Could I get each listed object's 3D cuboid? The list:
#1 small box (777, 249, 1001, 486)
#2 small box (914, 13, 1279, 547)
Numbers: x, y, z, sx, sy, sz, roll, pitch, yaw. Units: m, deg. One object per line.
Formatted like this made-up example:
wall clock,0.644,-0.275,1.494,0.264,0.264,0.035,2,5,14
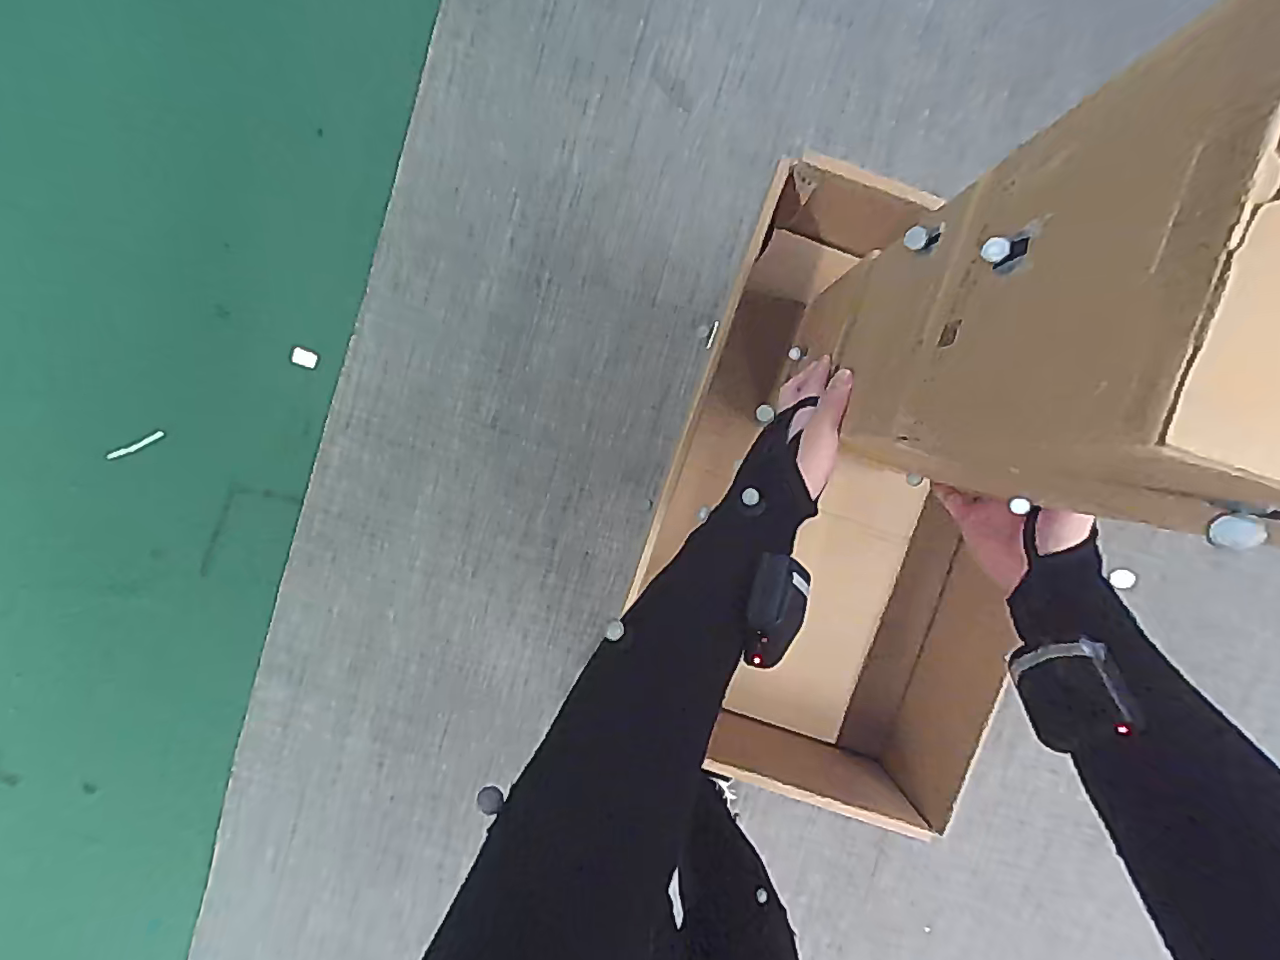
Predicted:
small box,0.267,-0.105,0.558,0.179,0.176,0.168,20,94,-1
small box,0.264,-0.066,0.235,0.179,0.176,0.168,18,95,-2
